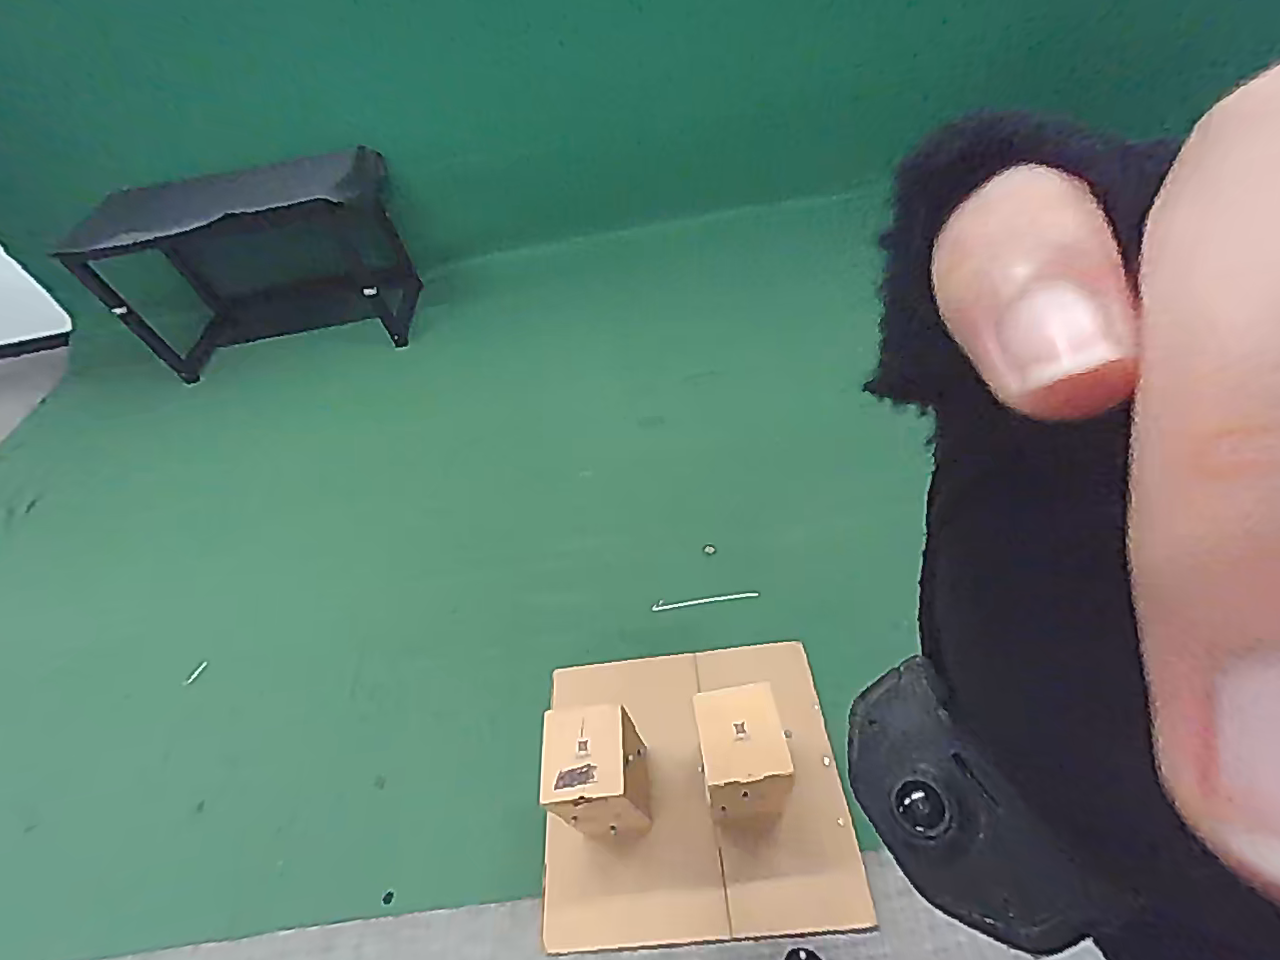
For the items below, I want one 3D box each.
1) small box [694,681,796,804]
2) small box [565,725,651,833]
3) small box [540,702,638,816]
[{"bbox_3d":[0.208,0.539,1.106,0.168,0.176,0.179,-11,49,2],"label":"small box"},{"bbox_3d":[-0.071,0.691,1.245,0.168,0.176,0.179,-10,49,4],"label":"small box"},{"bbox_3d":[-0.099,0.584,1.123,0.168,0.176,0.179,-9,48,5],"label":"small box"}]
